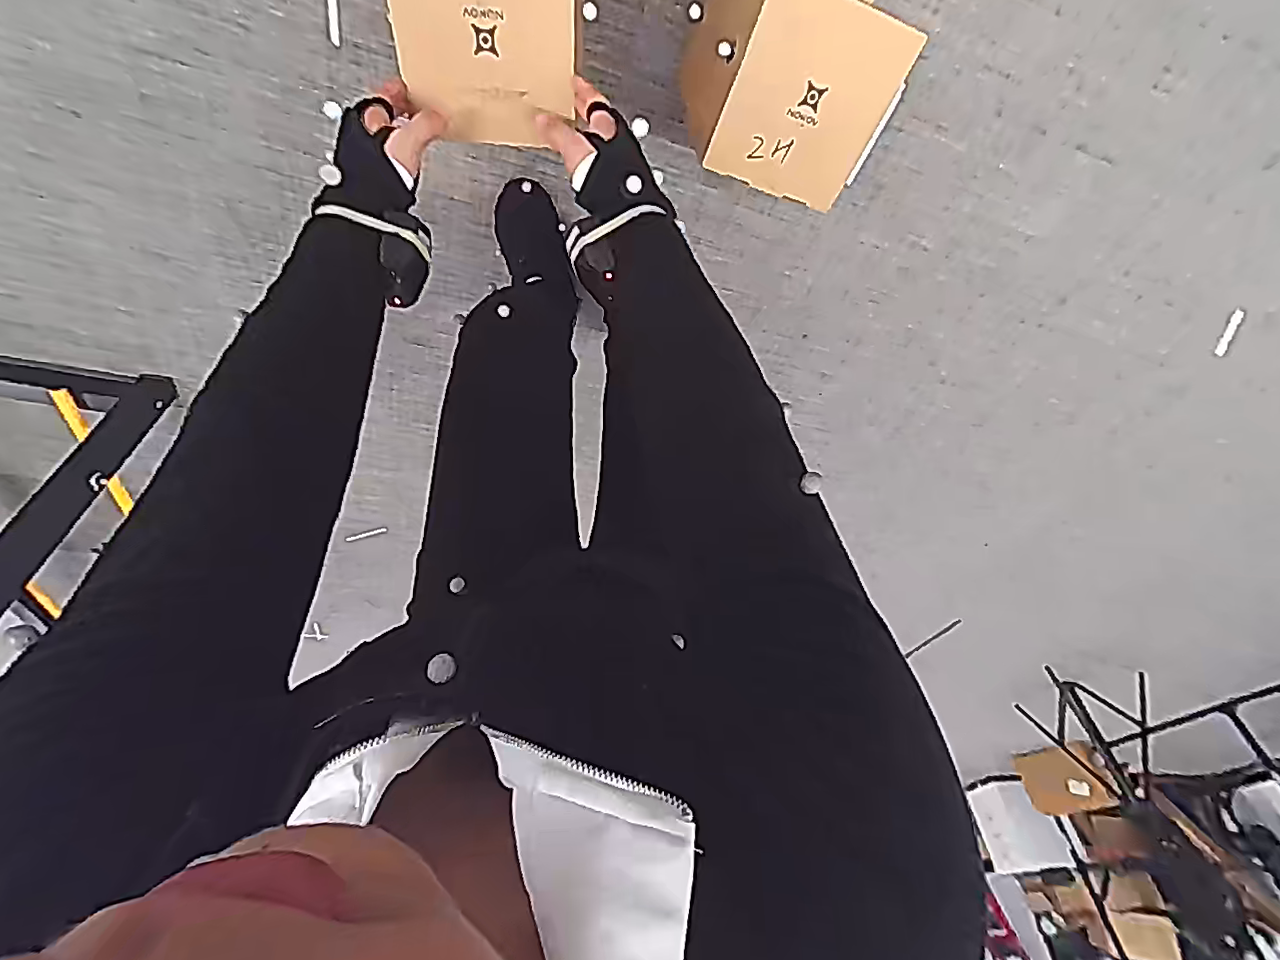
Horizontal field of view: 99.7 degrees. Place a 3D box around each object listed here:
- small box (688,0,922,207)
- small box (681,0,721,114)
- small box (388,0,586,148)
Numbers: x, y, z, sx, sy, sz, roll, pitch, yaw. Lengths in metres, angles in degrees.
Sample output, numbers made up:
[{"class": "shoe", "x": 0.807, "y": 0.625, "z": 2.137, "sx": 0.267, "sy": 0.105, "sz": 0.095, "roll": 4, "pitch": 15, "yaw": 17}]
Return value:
[{"class": "small box", "x": 0.162, "y": -0.449, "z": 0.604, "sx": 0.168, "sy": 0.176, "sz": 0.179, "roll": 11, "pitch": 138, "yaw": -16}, {"class": "small box", "x": 0.158, "y": -0.577, "z": 0.709, "sx": 0.168, "sy": 0.176, "sz": 0.179, "roll": 9, "pitch": 138, "yaw": -15}, {"class": "small box", "x": -0.144, "y": -0.459, "z": 0.551, "sx": 0.168, "sy": 0.176, "sz": 0.179, "roll": 1, "pitch": 131, "yaw": -2}]
